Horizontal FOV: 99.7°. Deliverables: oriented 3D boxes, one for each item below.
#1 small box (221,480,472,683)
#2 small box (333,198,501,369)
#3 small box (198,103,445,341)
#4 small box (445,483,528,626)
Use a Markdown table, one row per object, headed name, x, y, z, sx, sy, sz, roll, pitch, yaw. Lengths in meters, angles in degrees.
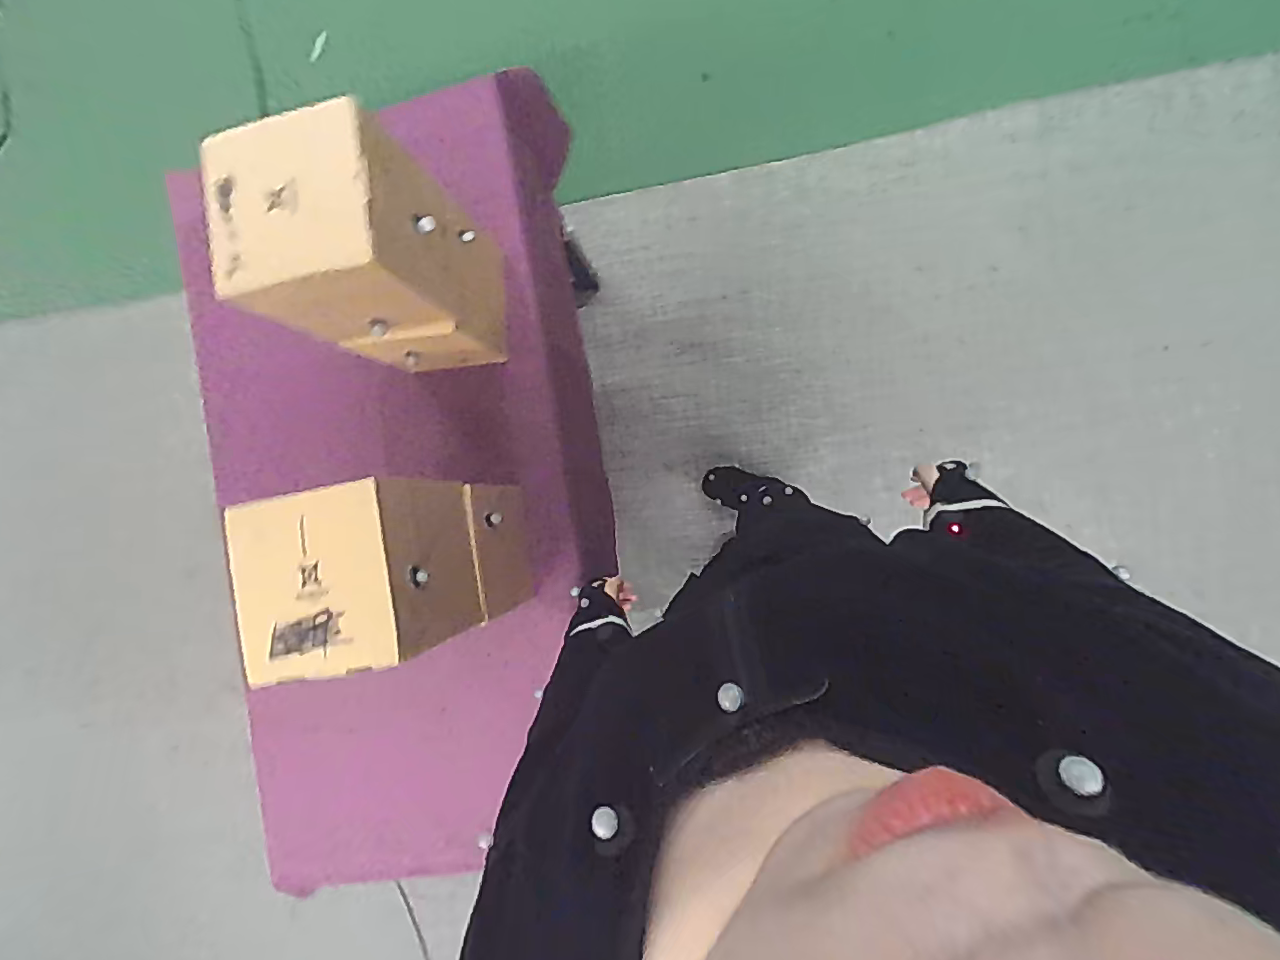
| name | x | y | z | sx | sy | sz | roll | pitch | yaw |
| --- | --- | --- | --- | --- | --- | --- | --- | --- | --- |
| small box | -0.302 | 0.099 | 0.589 | 0.168 | 0.176 | 0.179 | -11 | 86 | 9 |
| small box | -0.308 | -0.261 | 0.766 | 0.168 | 0.176 | 0.179 | -4 | 88 | 9 |
| small box | -0.336 | -0.268 | 0.604 | 0.179 | 0.176 | 0.168 | -8 | 87 | 9 |
| small box | -0.268 | 0.101 | 0.750 | 0.168 | 0.176 | 0.179 | -8 | 88 | 10 |
